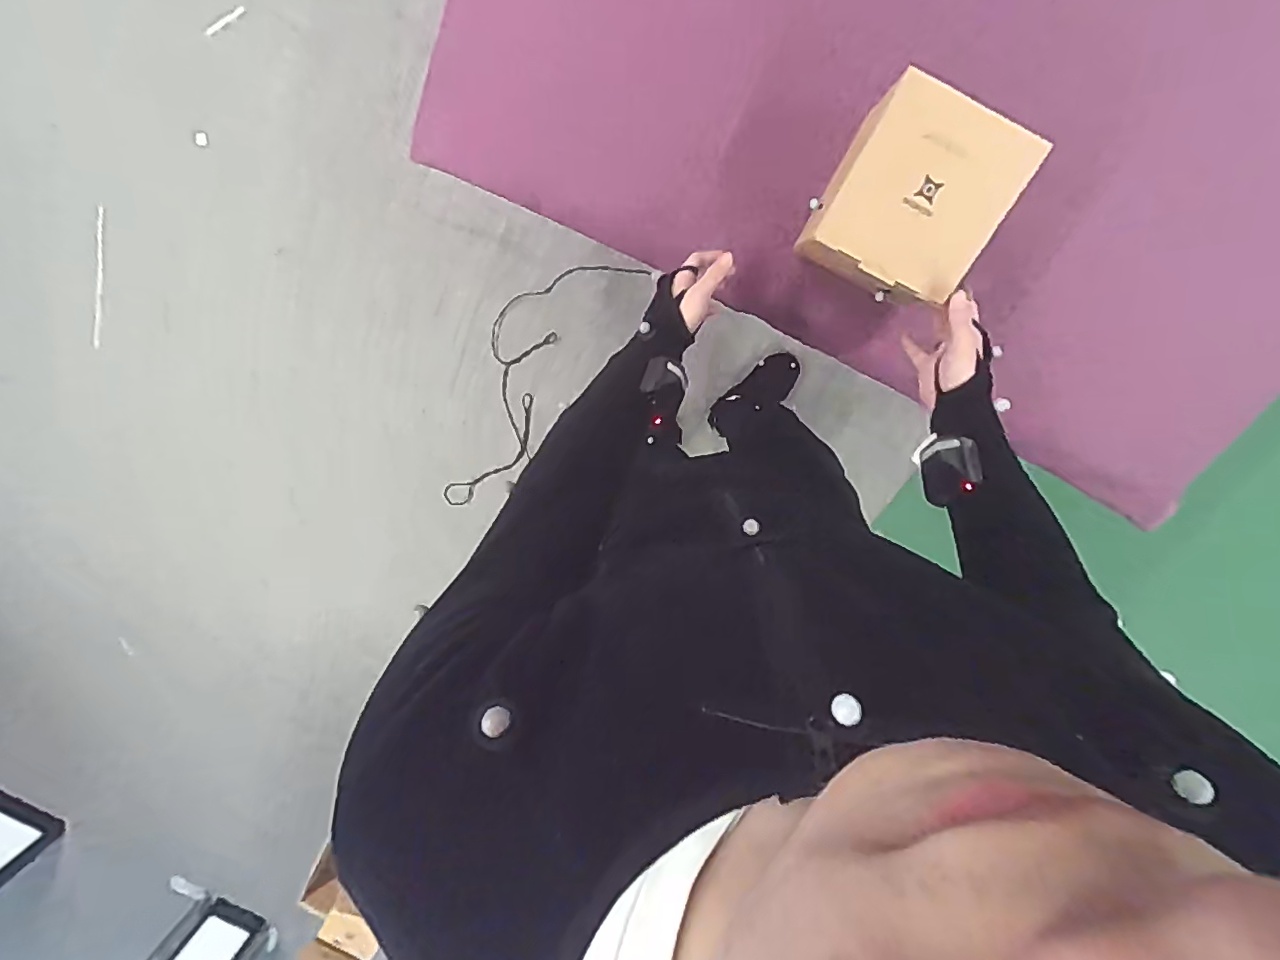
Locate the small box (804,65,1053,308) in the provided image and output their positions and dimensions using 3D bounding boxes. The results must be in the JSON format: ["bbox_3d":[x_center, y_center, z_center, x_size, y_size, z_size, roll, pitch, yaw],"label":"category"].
[{"bbox_3d":[0.309,-0.322,0.631,0.168,0.176,0.179,28,111,-2],"label":"small box"}]

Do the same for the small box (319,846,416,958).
[{"bbox_3d":[-0.776,1.207,1.558,0.168,0.176,0.179,32,113,-2],"label":"small box"}]

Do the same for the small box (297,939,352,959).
[{"bbox_3d":[-0.911,1.428,1.494,0.168,0.176,0.179,28,111,-1],"label":"small box"}]
